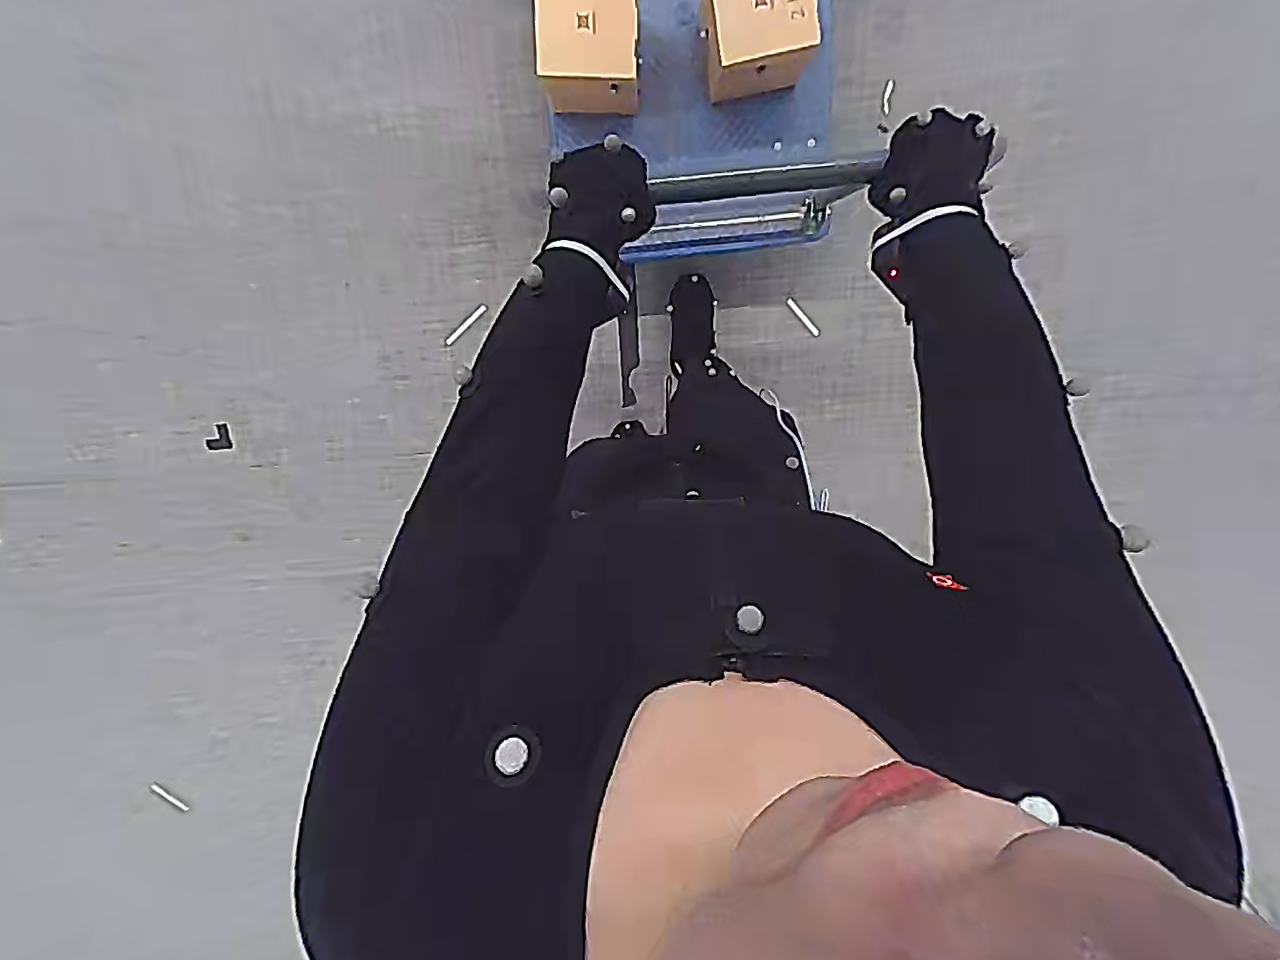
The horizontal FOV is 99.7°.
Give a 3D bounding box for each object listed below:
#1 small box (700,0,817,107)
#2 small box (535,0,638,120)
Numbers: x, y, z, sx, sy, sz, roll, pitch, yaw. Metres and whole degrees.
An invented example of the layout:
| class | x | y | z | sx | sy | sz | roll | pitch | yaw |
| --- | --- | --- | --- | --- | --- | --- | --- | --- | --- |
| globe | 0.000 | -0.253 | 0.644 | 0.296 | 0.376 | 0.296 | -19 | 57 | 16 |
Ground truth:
| class | x | y | z | sx | sy | sz | roll | pitch | yaw |
| --- | --- | --- | --- | --- | --- | --- | --- | --- | --- |
| small box | 0.209 | -0.824 | 0.999 | 0.179 | 0.176 | 0.168 | -10 | 106 | 3 |
| small box | -0.093 | -0.795 | 1.008 | 0.179 | 0.176 | 0.168 | 0 | 106 | -2 |
